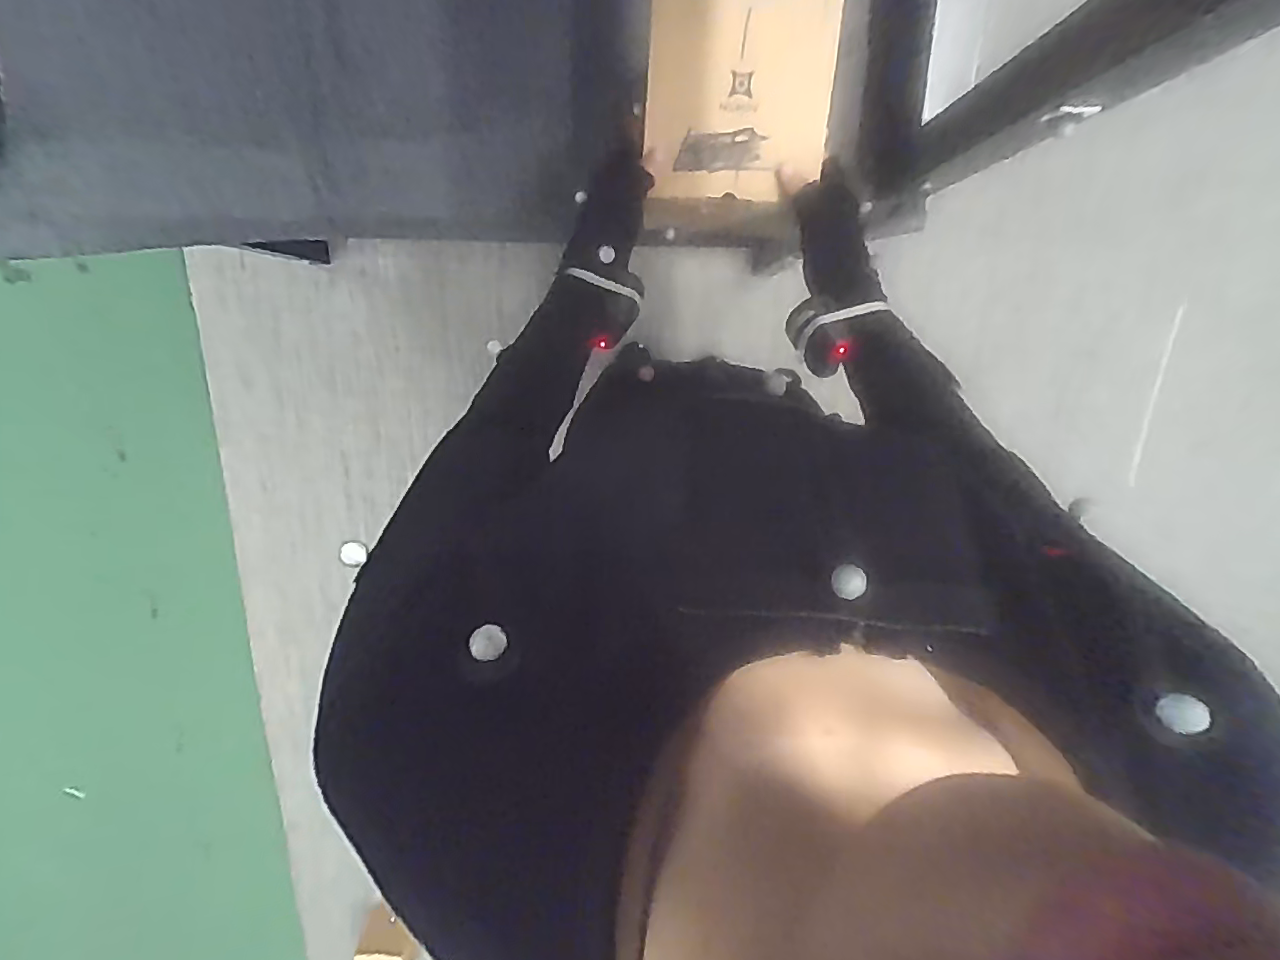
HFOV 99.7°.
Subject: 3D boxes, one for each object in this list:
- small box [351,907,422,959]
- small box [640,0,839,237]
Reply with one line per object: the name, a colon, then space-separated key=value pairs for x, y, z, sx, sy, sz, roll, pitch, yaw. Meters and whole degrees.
small box: x=-0.868 y=1.632 z=1.866 sx=0.168 sy=0.176 sz=0.179 roll=4 pitch=104 yaw=0
small box: x=0.091 y=-0.367 z=0.573 sx=0.168 sy=0.176 sz=0.179 roll=5 pitch=104 yaw=1
